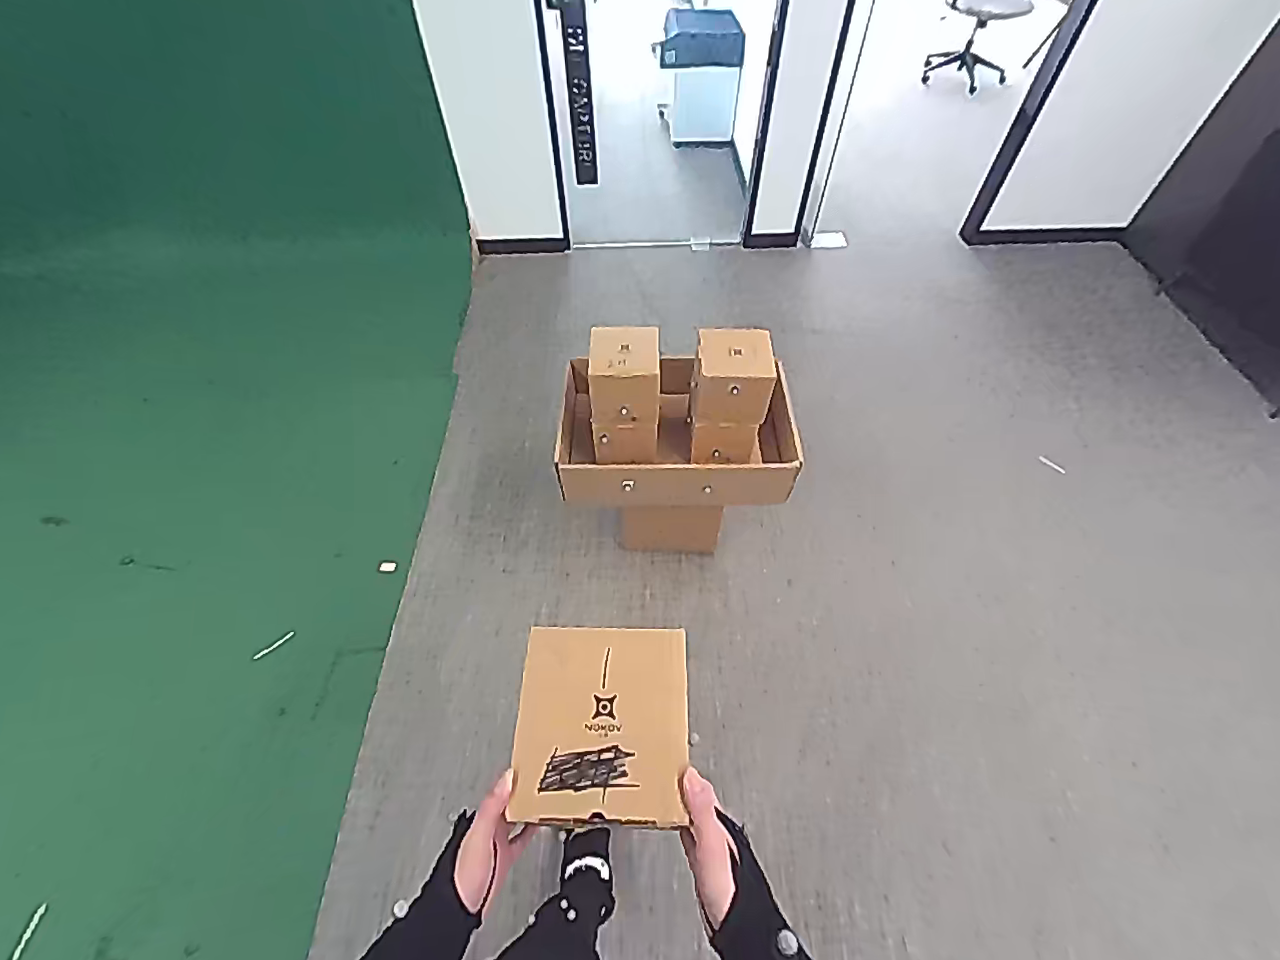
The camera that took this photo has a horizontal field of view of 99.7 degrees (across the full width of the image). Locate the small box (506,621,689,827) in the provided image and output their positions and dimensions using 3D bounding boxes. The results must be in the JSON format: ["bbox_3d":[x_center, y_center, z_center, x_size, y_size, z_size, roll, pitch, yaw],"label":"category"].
[{"bbox_3d":[-0.034,0.266,0.583,0.168,0.176,0.179,1,55,0],"label":"small box"}]

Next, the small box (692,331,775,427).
[{"bbox_3d":[0.222,-0.247,1.338,0.179,0.176,0.168,2,55,0],"label":"small box"}]

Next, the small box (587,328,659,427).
[{"bbox_3d":[-0.040,-0.252,1.333,0.168,0.176,0.179,0,53,0],"label":"small box"}]
